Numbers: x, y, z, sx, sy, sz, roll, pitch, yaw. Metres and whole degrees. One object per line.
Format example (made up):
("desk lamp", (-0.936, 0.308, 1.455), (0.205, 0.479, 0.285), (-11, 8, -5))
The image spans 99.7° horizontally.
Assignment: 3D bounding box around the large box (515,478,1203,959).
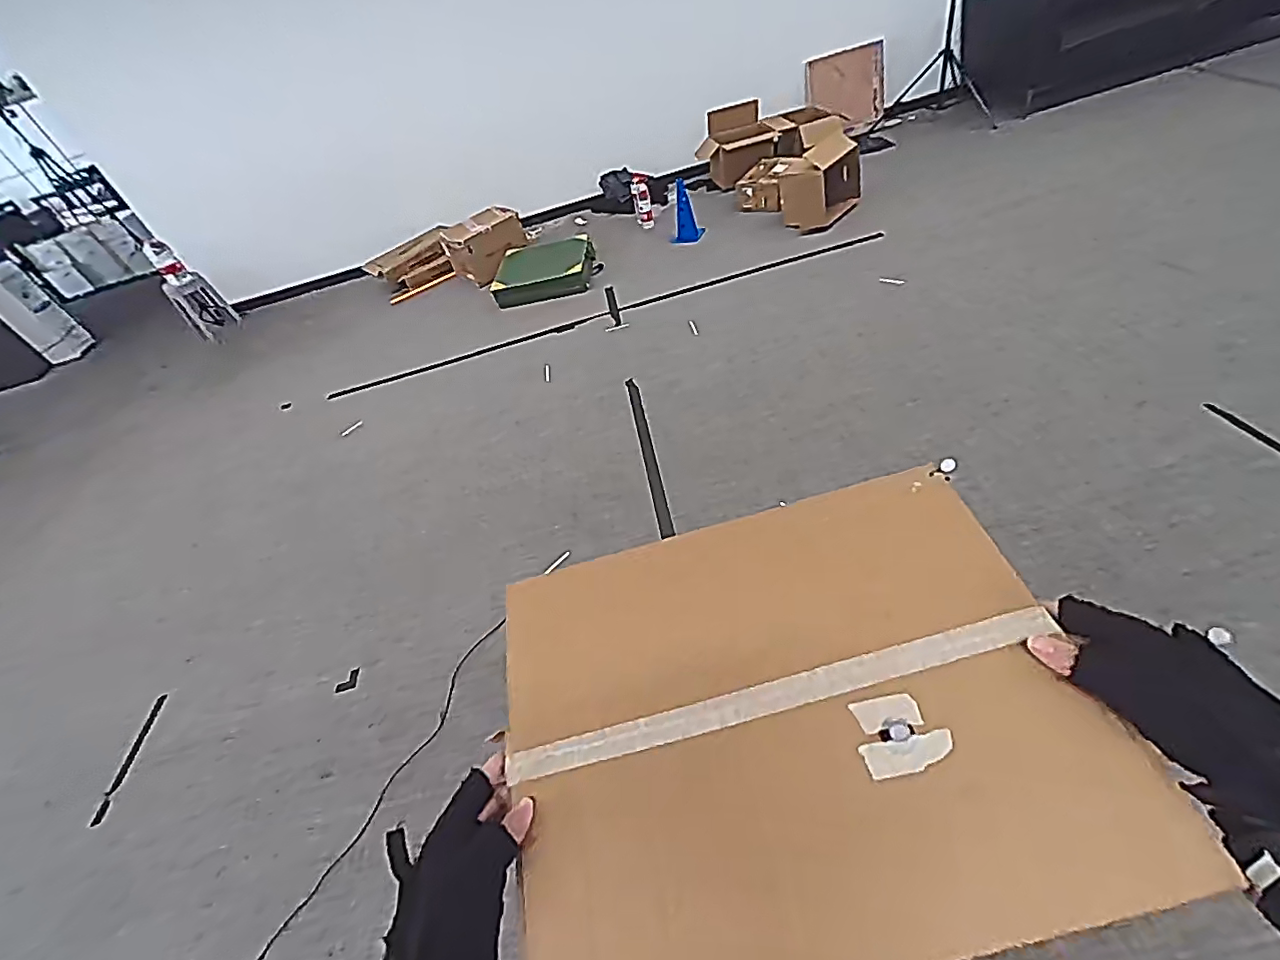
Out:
("large box", (0.131, 0.258, 0.519), (0.408, 0.320, 0.320), (-16, 51, 1))
